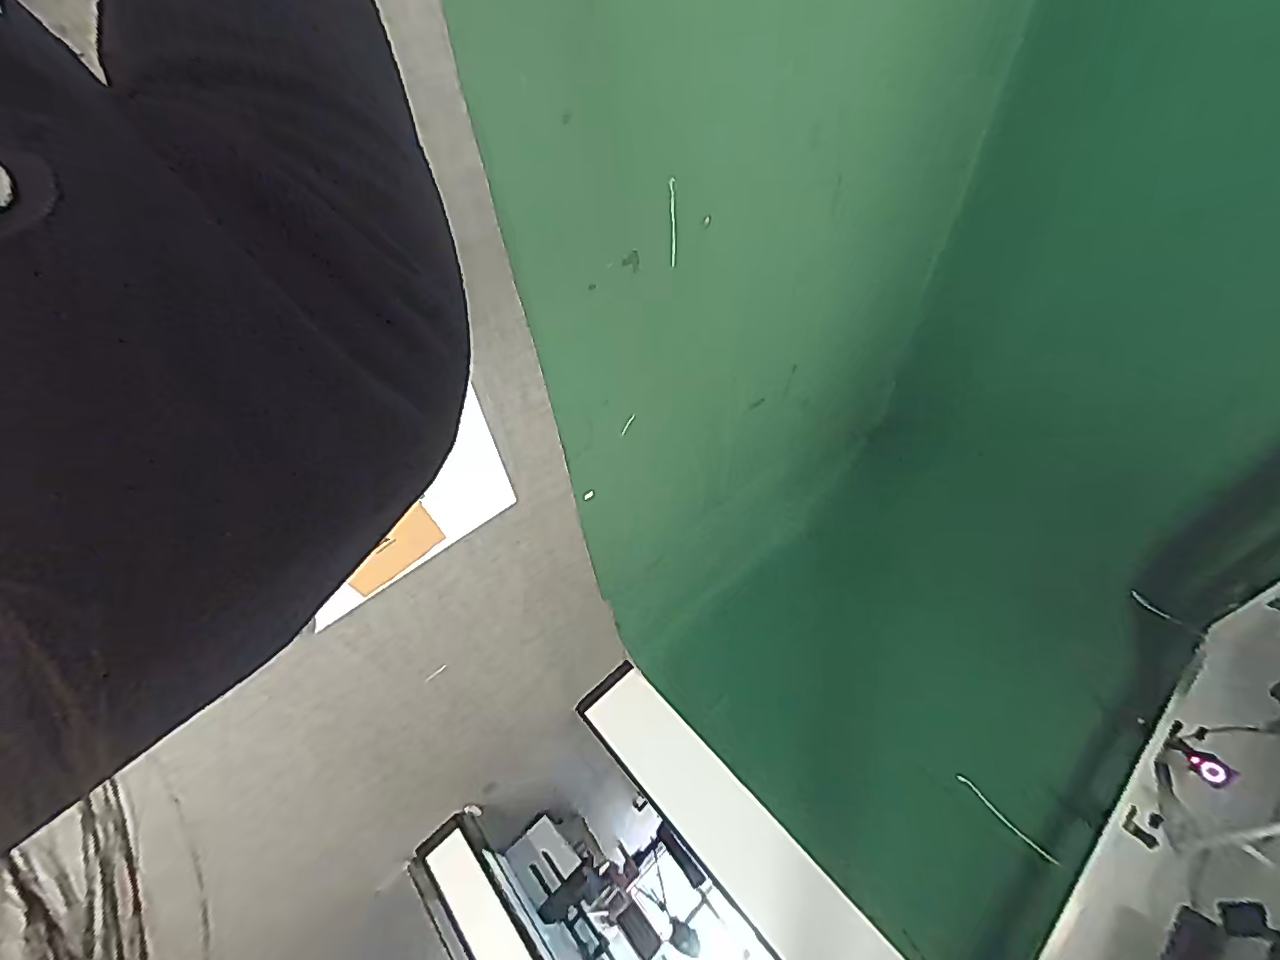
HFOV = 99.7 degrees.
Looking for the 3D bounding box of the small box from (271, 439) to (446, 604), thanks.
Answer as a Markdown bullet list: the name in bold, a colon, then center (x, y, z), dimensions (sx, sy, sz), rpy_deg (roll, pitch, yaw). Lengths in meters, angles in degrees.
- **small box**: center (-0.461, 0.065, 0.897), dimensions (0.168, 0.176, 0.179), rpy_deg (-40, 145, -19)
